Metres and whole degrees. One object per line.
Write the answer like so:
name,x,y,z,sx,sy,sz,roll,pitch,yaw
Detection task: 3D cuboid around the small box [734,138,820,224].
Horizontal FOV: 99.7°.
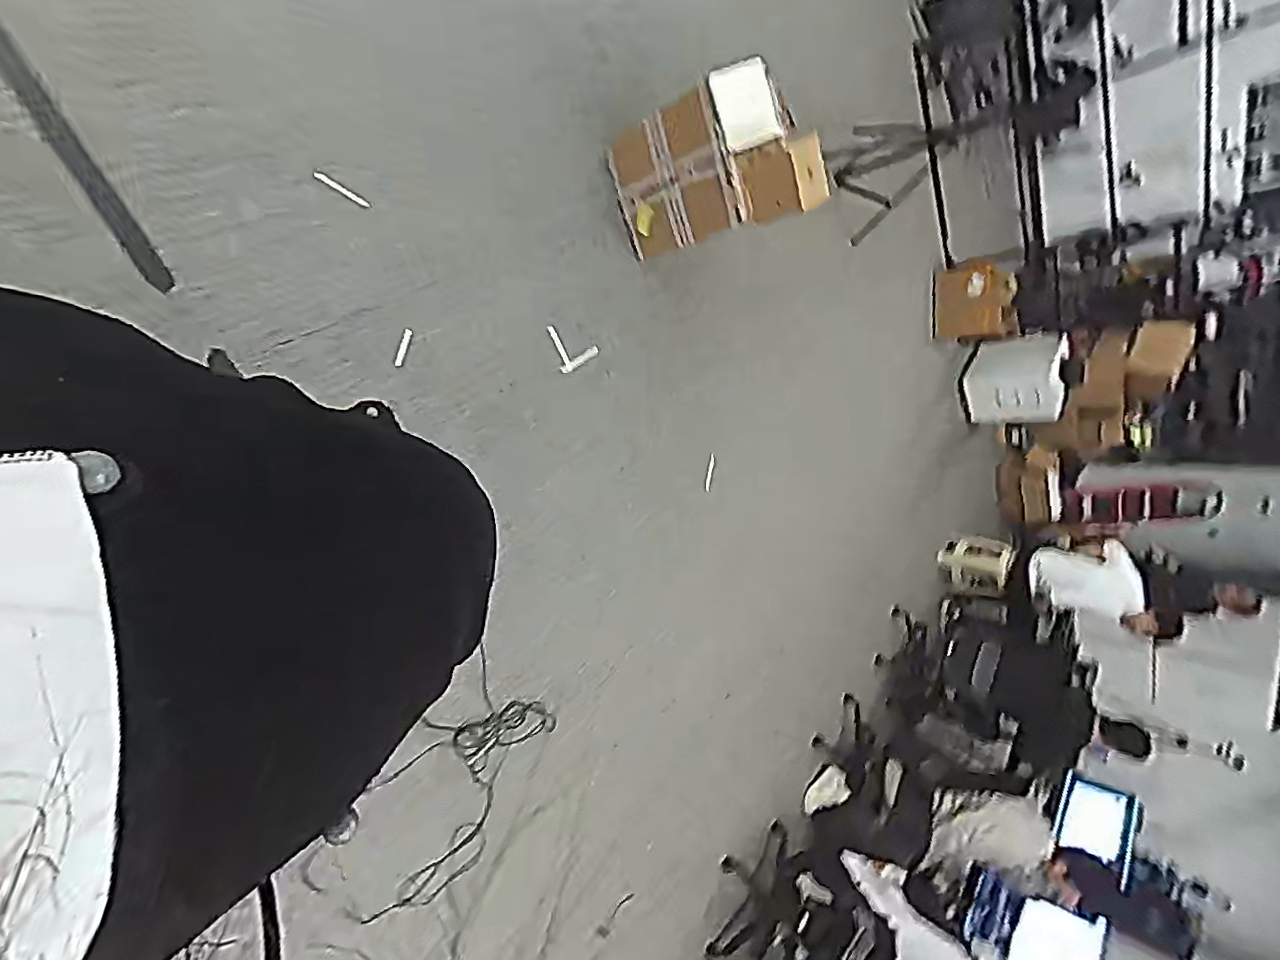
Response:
small box,0.414,-0.895,1.637,0.168,0.176,0.179,-41,120,-31
